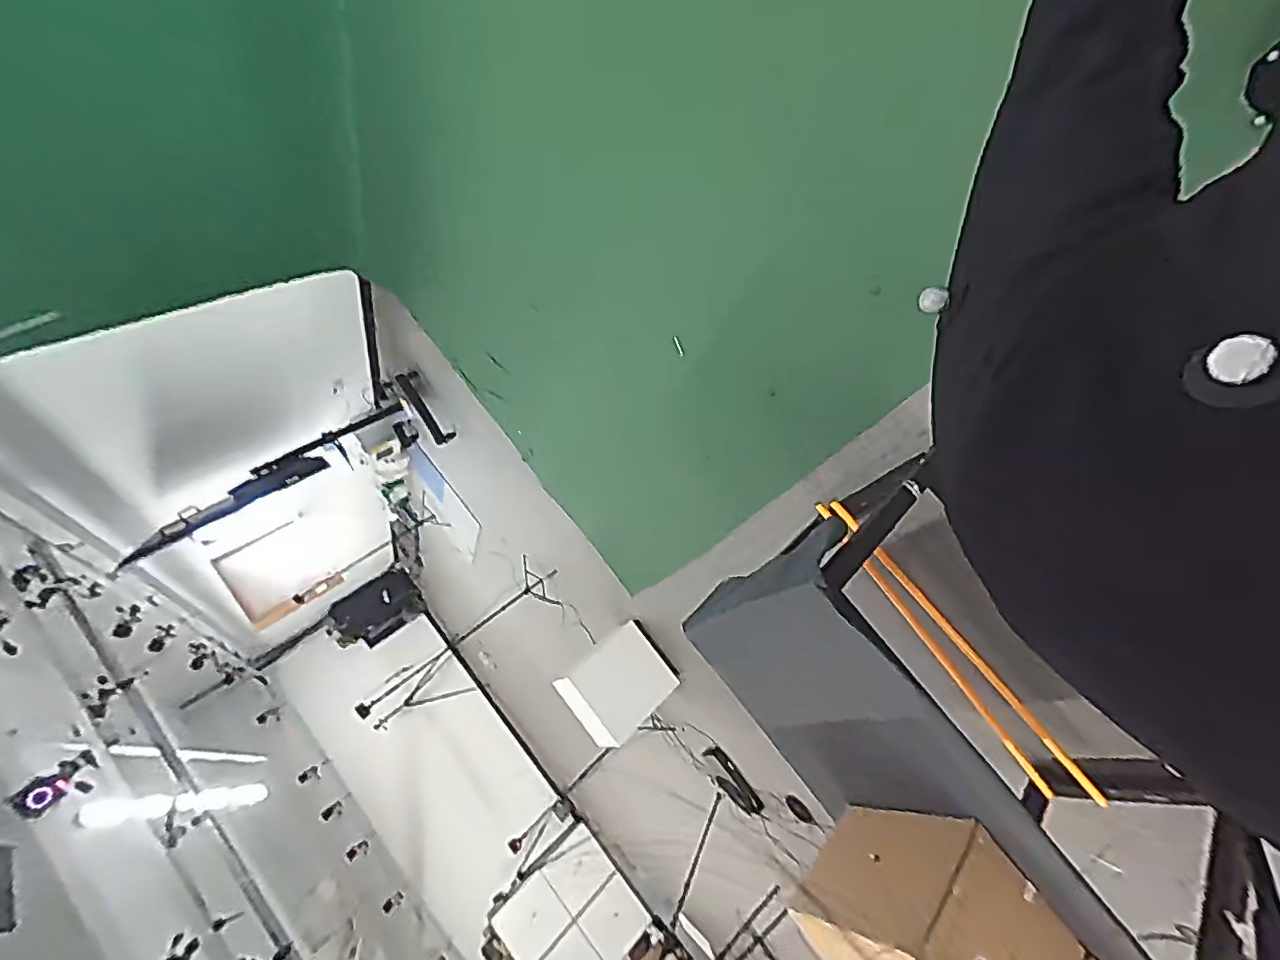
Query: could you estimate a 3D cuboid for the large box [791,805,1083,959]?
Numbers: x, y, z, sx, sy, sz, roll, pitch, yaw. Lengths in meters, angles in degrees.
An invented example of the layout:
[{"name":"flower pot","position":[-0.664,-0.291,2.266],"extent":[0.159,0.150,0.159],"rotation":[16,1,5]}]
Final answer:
[{"name":"large box","position":[0.618,0.960,1.174],"extent":[0.320,0.320,0.408],"rotation":[50,146,8]}]
